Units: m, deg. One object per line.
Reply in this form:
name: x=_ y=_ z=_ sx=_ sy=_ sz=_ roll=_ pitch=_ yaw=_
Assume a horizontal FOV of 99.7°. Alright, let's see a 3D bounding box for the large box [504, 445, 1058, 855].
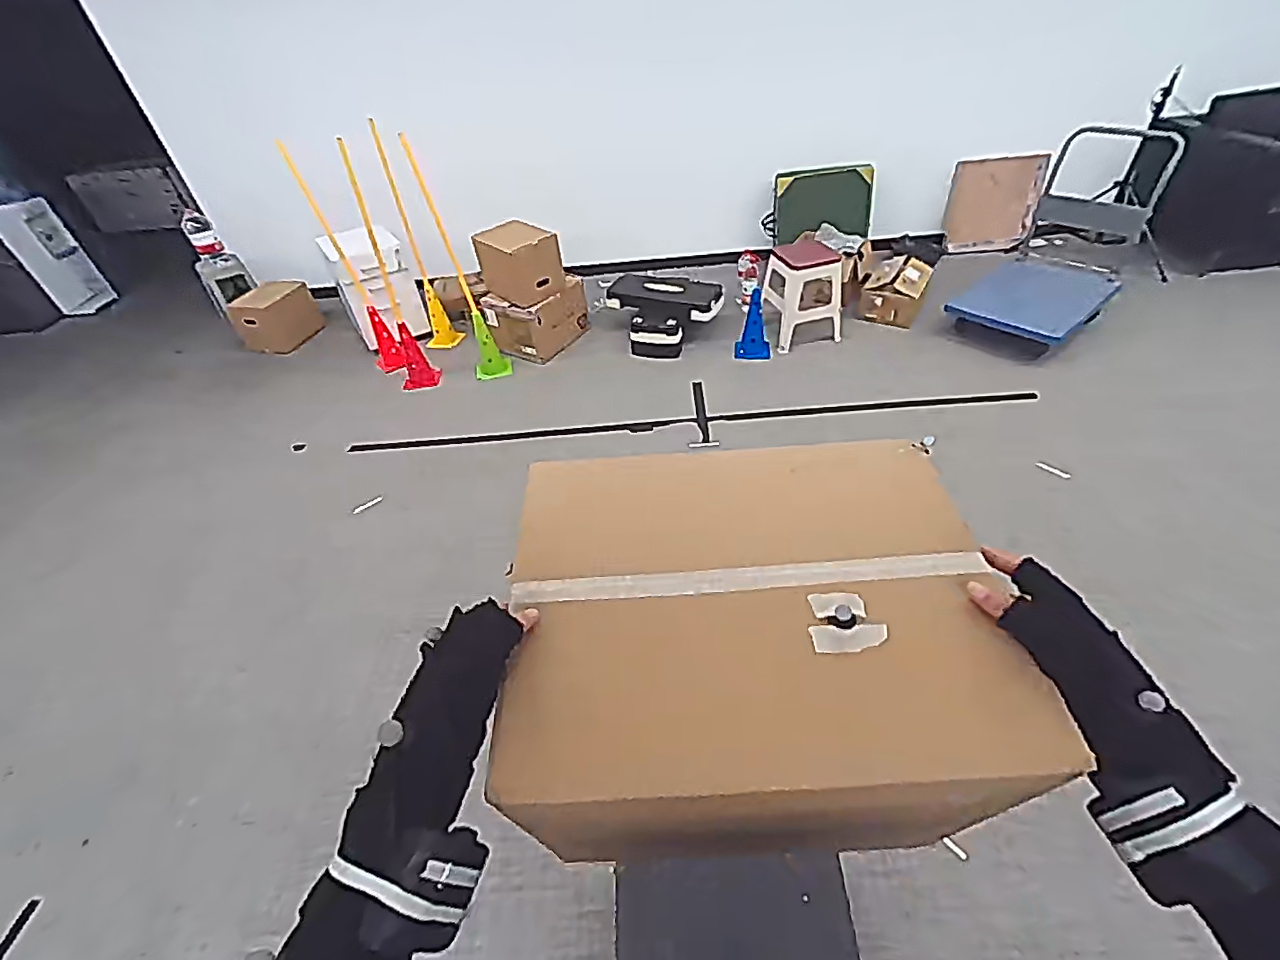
large box: x=0.098 y=0.189 z=0.588 sx=0.408 sy=0.320 sz=0.320 roll=-4 pitch=49 yaw=1
